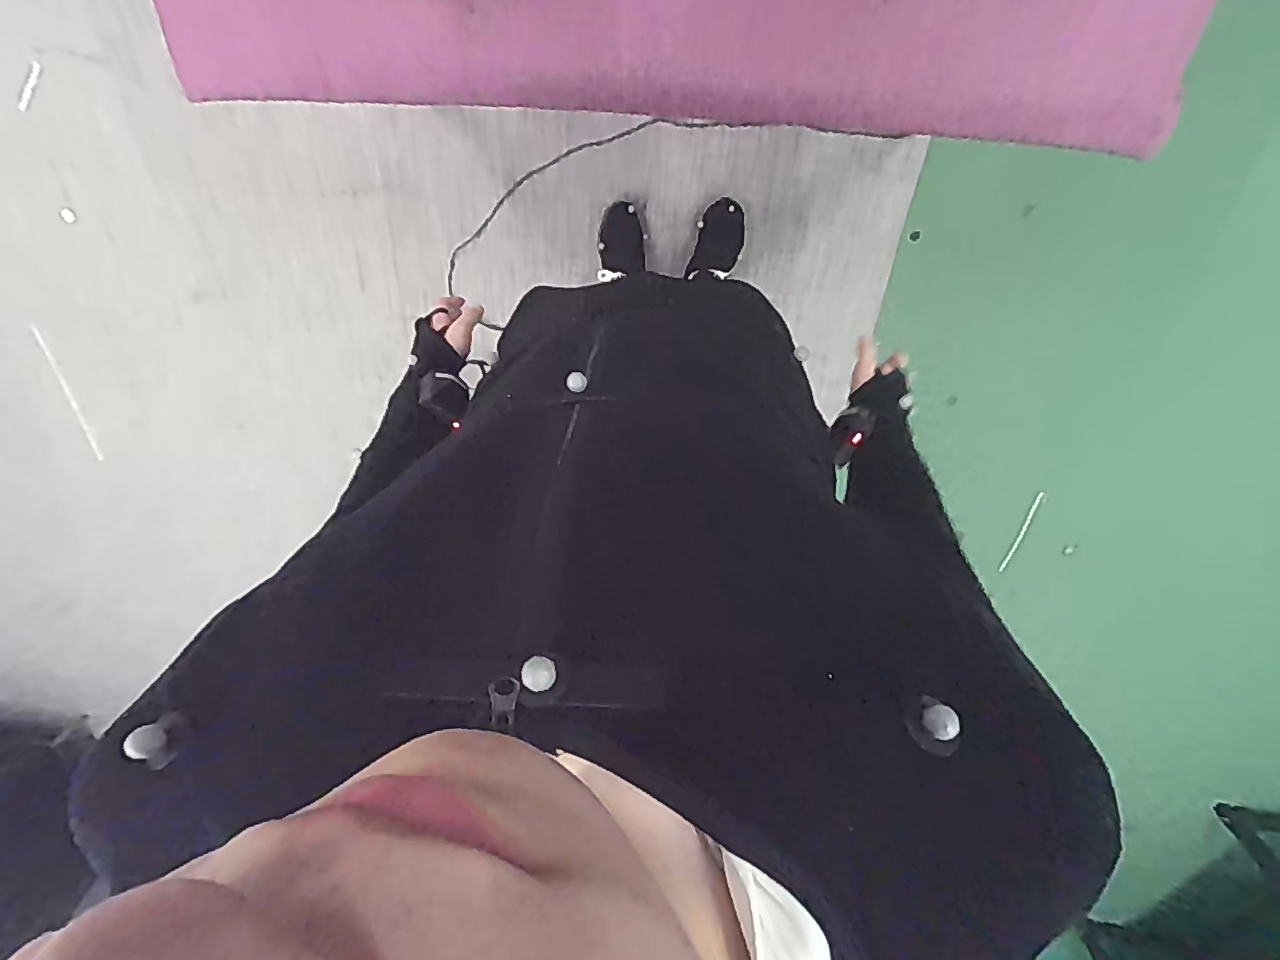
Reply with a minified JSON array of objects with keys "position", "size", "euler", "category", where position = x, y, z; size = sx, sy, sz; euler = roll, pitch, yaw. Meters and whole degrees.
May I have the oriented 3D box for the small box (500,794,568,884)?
[{"position":[-0.329,1.120,1.694],"size":[0.168,0.176,0.179],"euler":[14,121,-3],"category":"small box"}]
